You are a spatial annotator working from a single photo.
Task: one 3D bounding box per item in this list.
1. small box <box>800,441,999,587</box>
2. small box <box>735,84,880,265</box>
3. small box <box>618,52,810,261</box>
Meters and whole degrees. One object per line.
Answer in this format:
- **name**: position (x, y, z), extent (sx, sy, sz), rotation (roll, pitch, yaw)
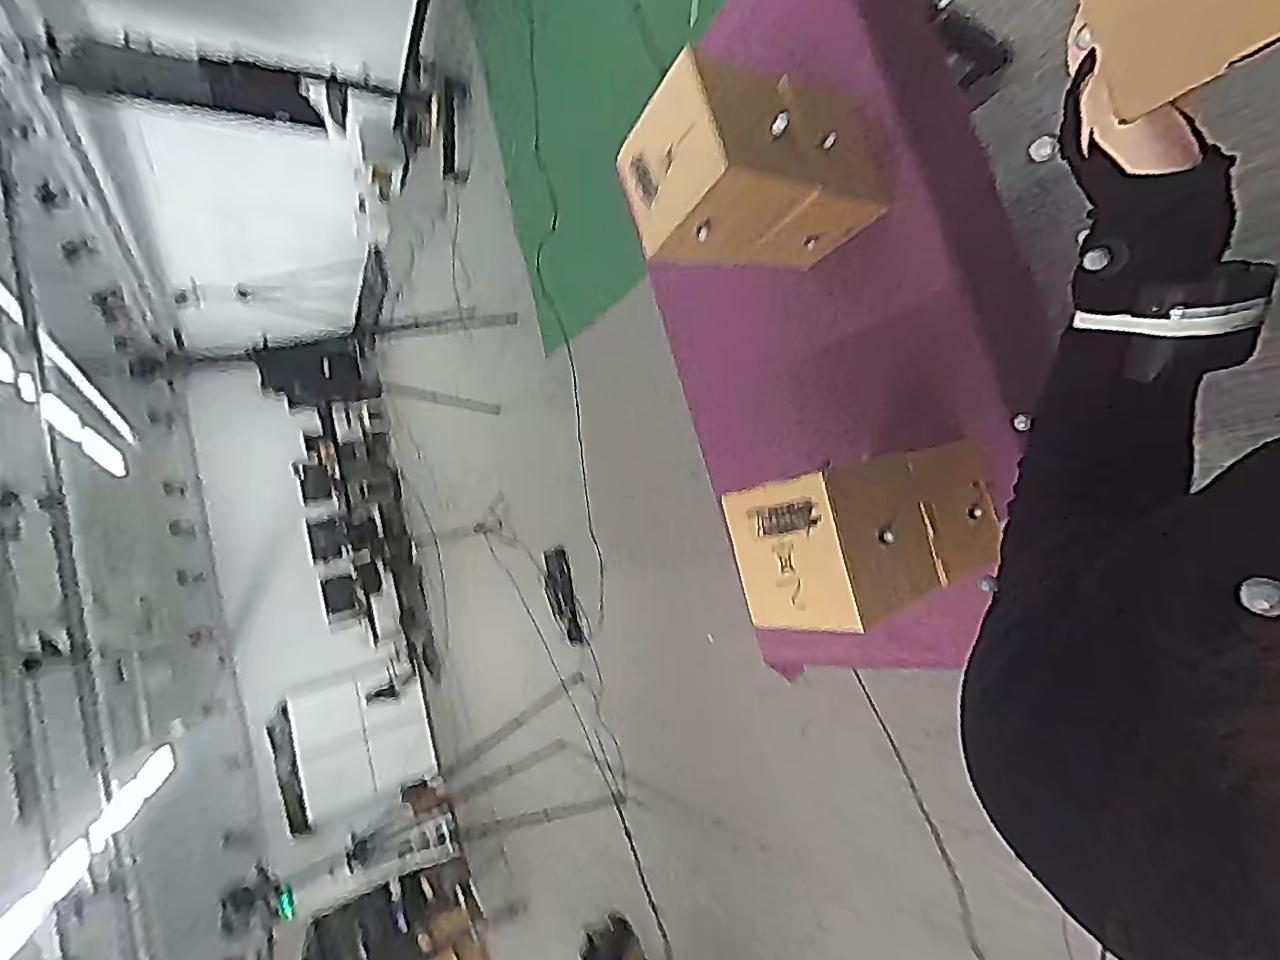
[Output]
- **small box**: position (0.369, 0.050, 0.779), extent (0.179, 0.176, 0.168), rotation (-24, 79, 55)
- **small box**: position (0.237, -0.452, 0.831), extent (0.168, 0.176, 0.179), rotation (-23, 80, 55)
- **small box**: position (0.098, -0.424, 0.746), extent (0.179, 0.176, 0.168), rotation (-28, 77, 54)
